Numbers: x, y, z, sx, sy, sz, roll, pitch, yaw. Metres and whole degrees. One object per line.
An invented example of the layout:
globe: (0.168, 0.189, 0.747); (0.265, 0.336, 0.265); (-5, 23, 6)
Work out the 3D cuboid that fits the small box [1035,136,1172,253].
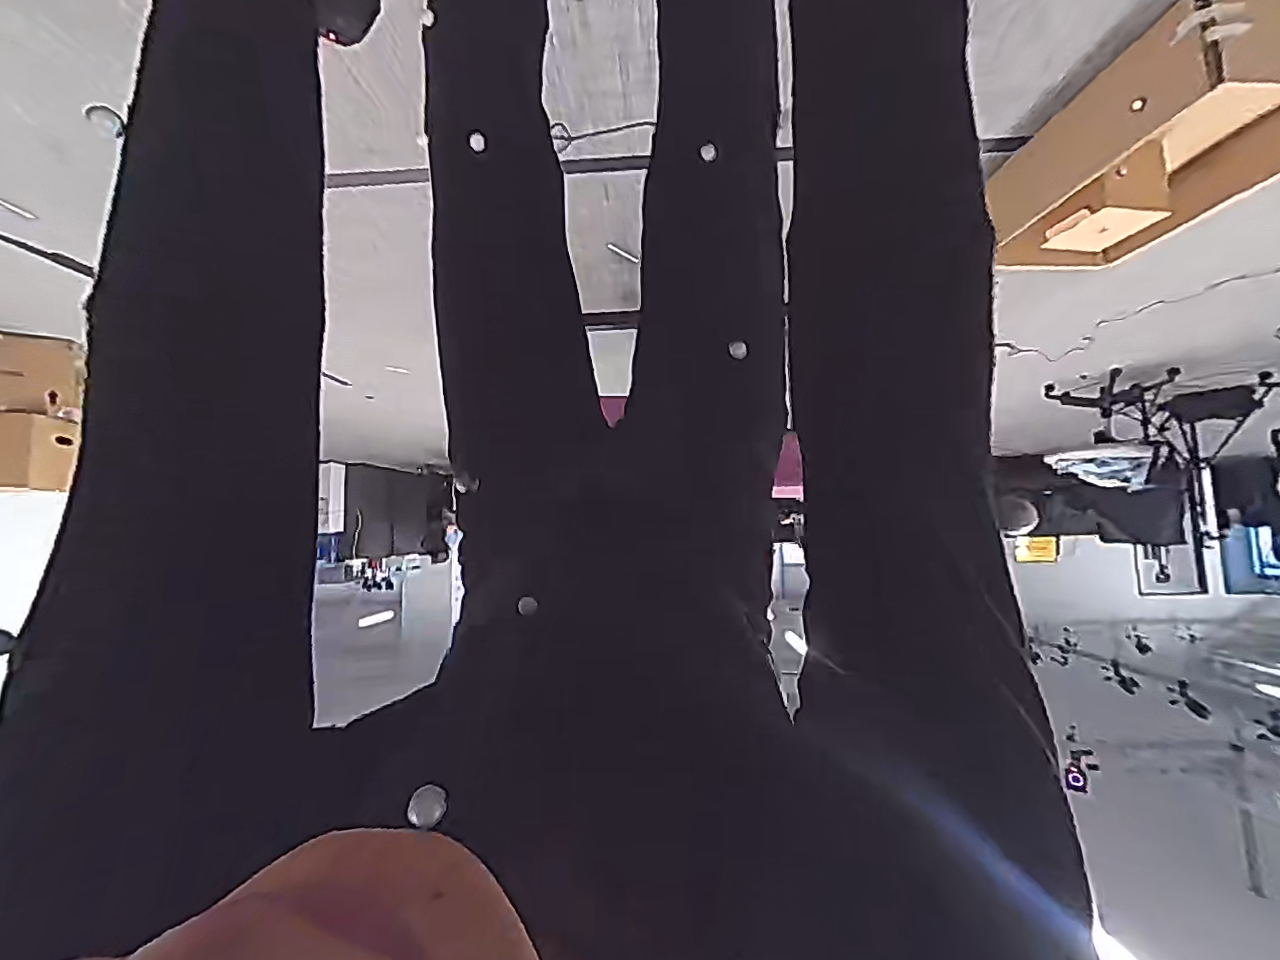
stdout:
small box: (1.044, -0.646, 1.232); (0.179, 0.176, 0.168); (0, 174, -11)
